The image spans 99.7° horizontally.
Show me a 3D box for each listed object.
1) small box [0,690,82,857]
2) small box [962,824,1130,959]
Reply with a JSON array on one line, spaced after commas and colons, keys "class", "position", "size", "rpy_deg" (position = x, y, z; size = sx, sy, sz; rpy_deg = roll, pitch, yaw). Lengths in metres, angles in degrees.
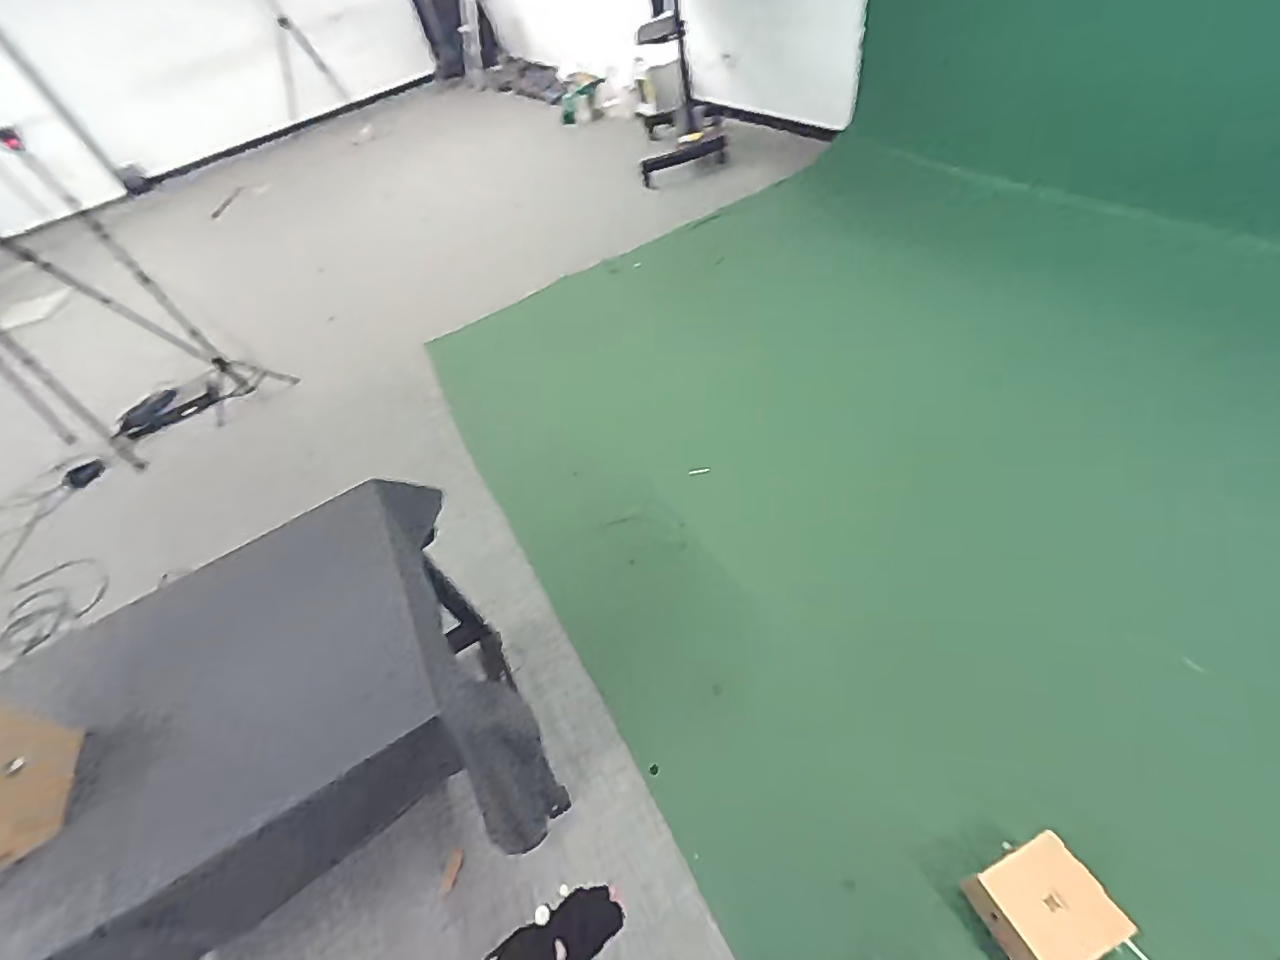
[{"class": "small box", "position": [-0.987, 0.446, 0.791], "size": [0.168, 0.176, 0.179], "rpy_deg": [-29, 49, -11]}, {"class": "small box", "position": [0.740, 0.788, 1.013], "size": [0.179, 0.176, 0.168], "rpy_deg": [-25, 48, -8]}]
